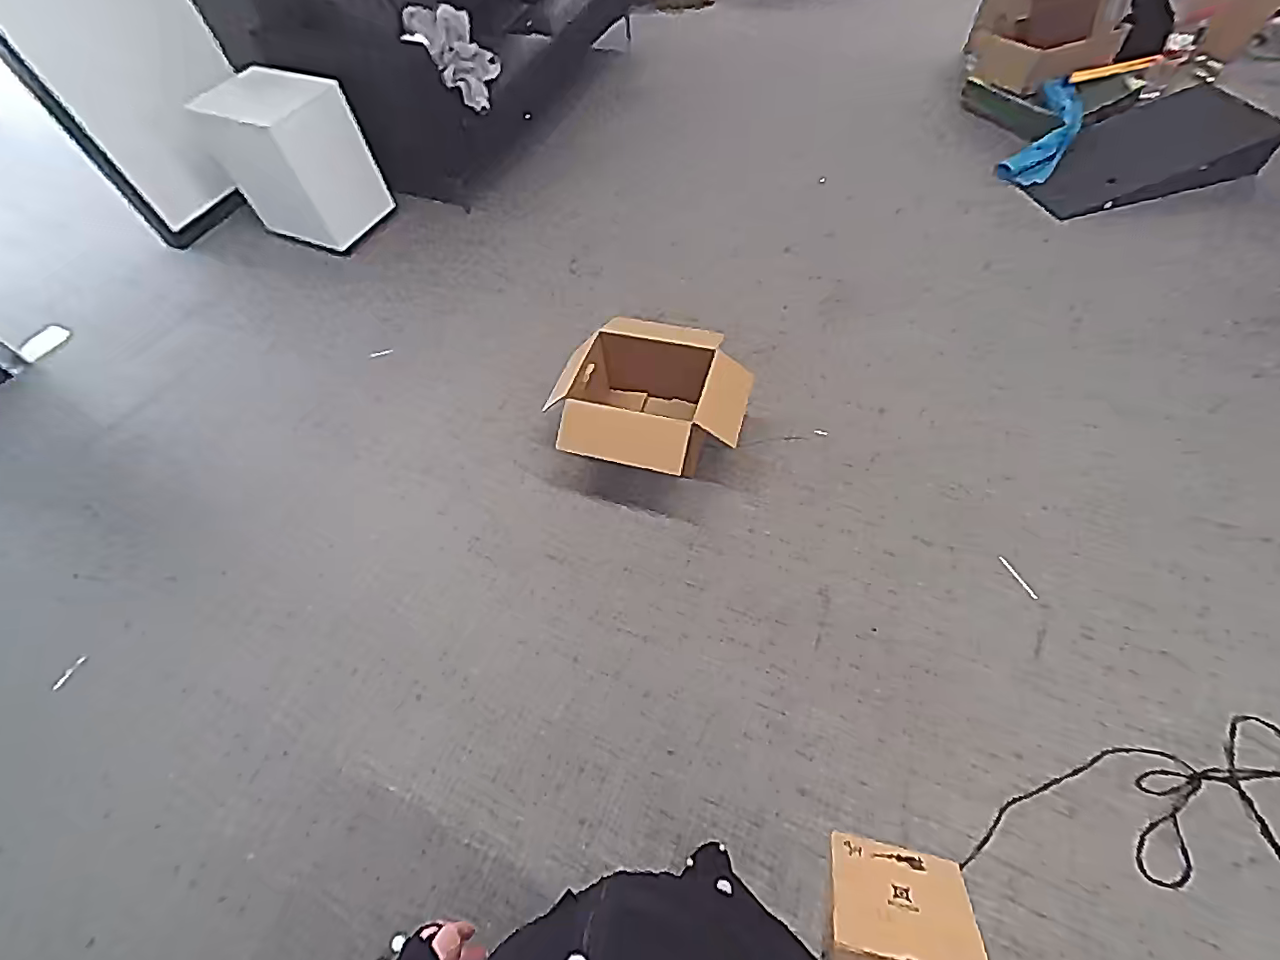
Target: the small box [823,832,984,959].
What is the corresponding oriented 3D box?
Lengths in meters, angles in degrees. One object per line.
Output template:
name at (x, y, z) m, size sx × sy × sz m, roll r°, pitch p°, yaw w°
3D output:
small box at (0.321, 0.602, 0.681) m, size 0.168 × 0.179 × 0.176 m, roll 4°, pitch 99°, yaw 19°
